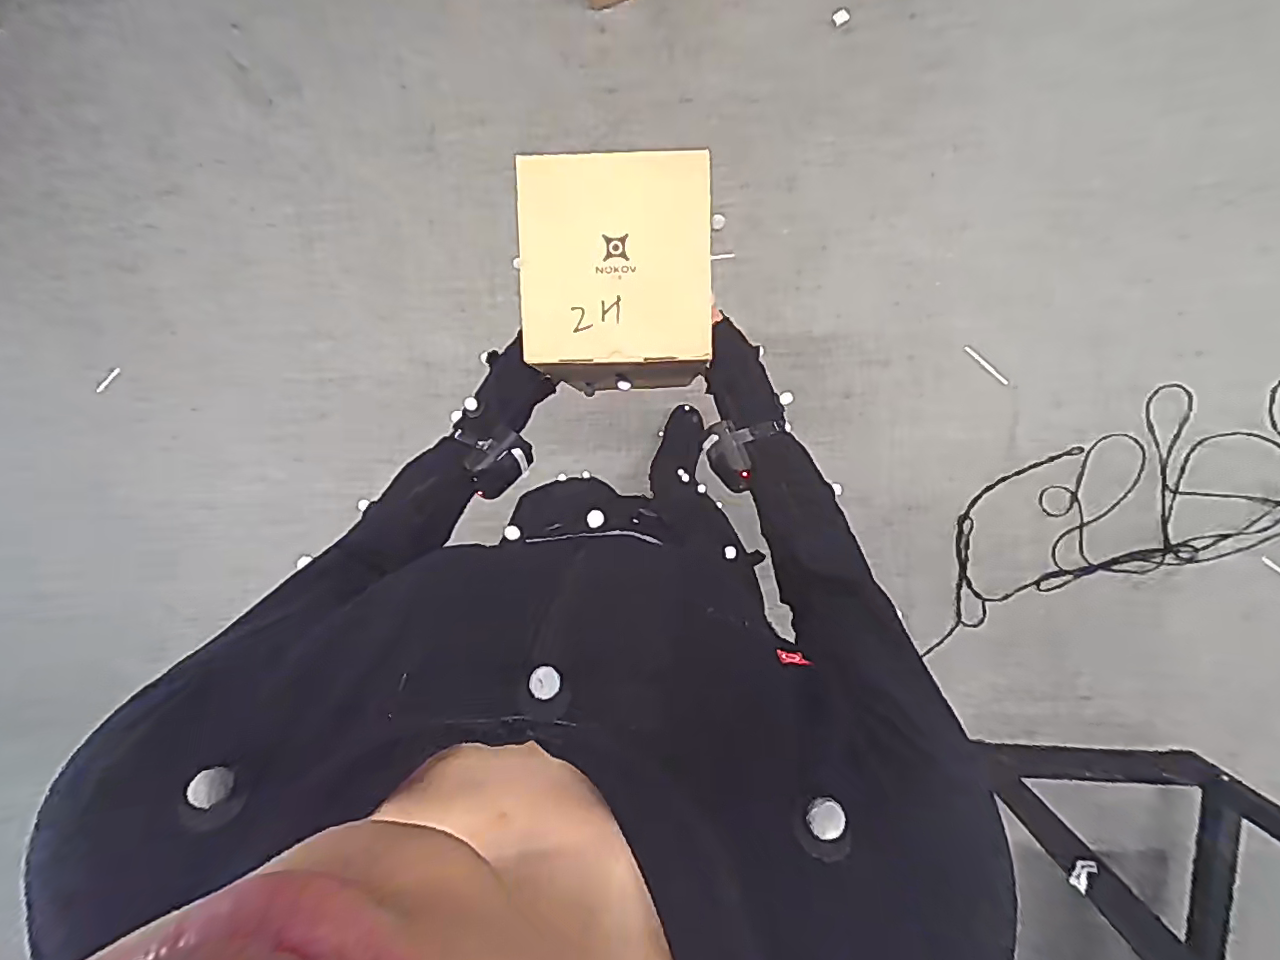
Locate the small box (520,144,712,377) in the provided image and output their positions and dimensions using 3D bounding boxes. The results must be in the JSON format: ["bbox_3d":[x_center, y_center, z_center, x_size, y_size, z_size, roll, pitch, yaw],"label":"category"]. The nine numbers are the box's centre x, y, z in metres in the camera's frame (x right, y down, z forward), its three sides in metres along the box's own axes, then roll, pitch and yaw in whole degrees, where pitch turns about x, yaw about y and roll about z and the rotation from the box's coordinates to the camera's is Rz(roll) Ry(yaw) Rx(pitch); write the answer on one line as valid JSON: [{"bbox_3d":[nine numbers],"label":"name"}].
[{"bbox_3d":[-0.019,-0.202,0.542,0.168,0.176,0.179,-1,95,2],"label":"small box"}]
